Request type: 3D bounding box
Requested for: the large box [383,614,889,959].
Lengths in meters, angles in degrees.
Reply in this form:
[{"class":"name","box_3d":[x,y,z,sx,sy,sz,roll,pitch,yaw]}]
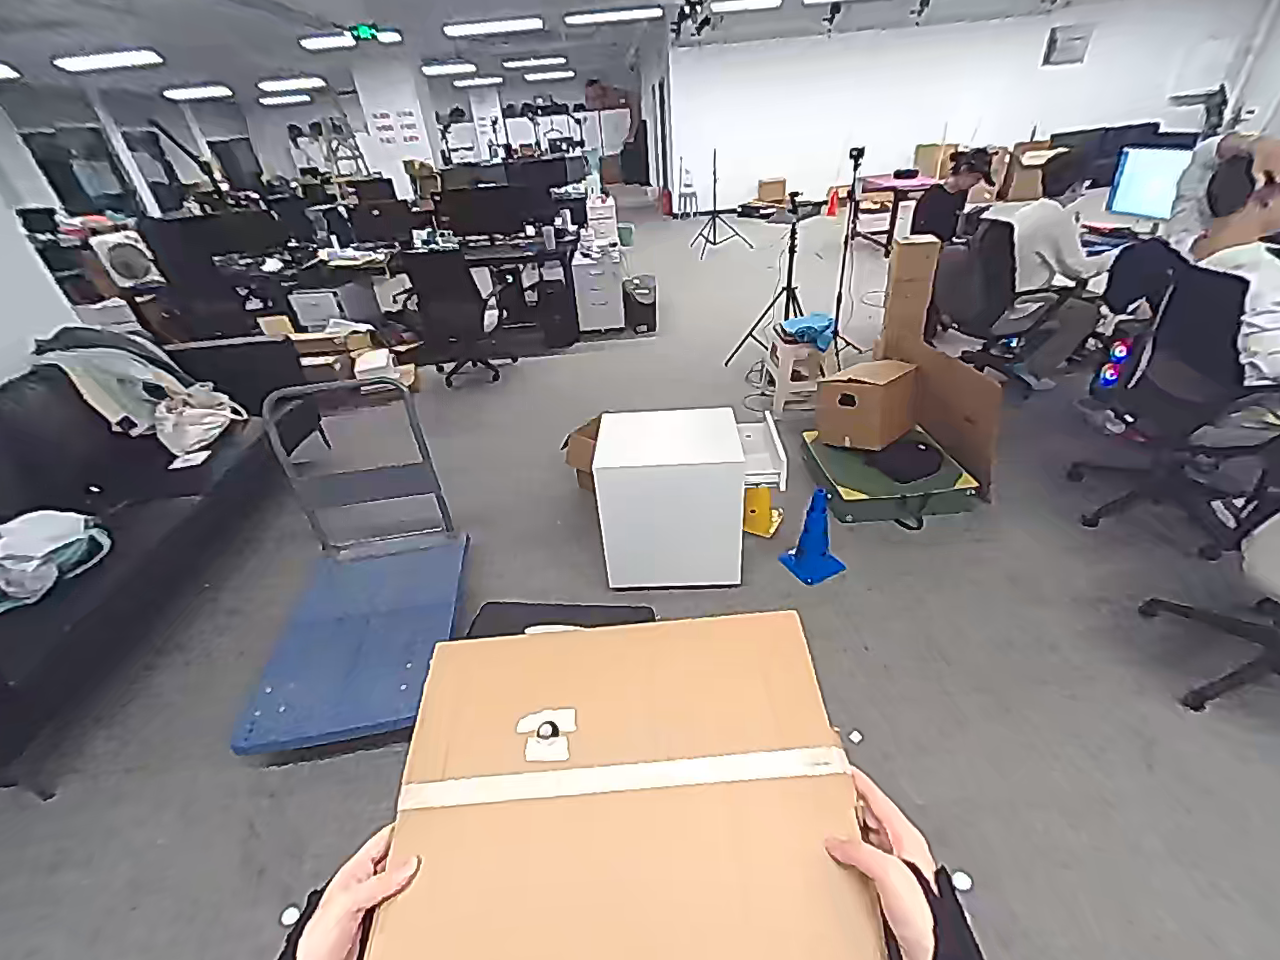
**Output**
[{"class":"large box","box_3d":[0.001,0.385,0.611,0.408,0.320,0.320,-8,45,4]}]
